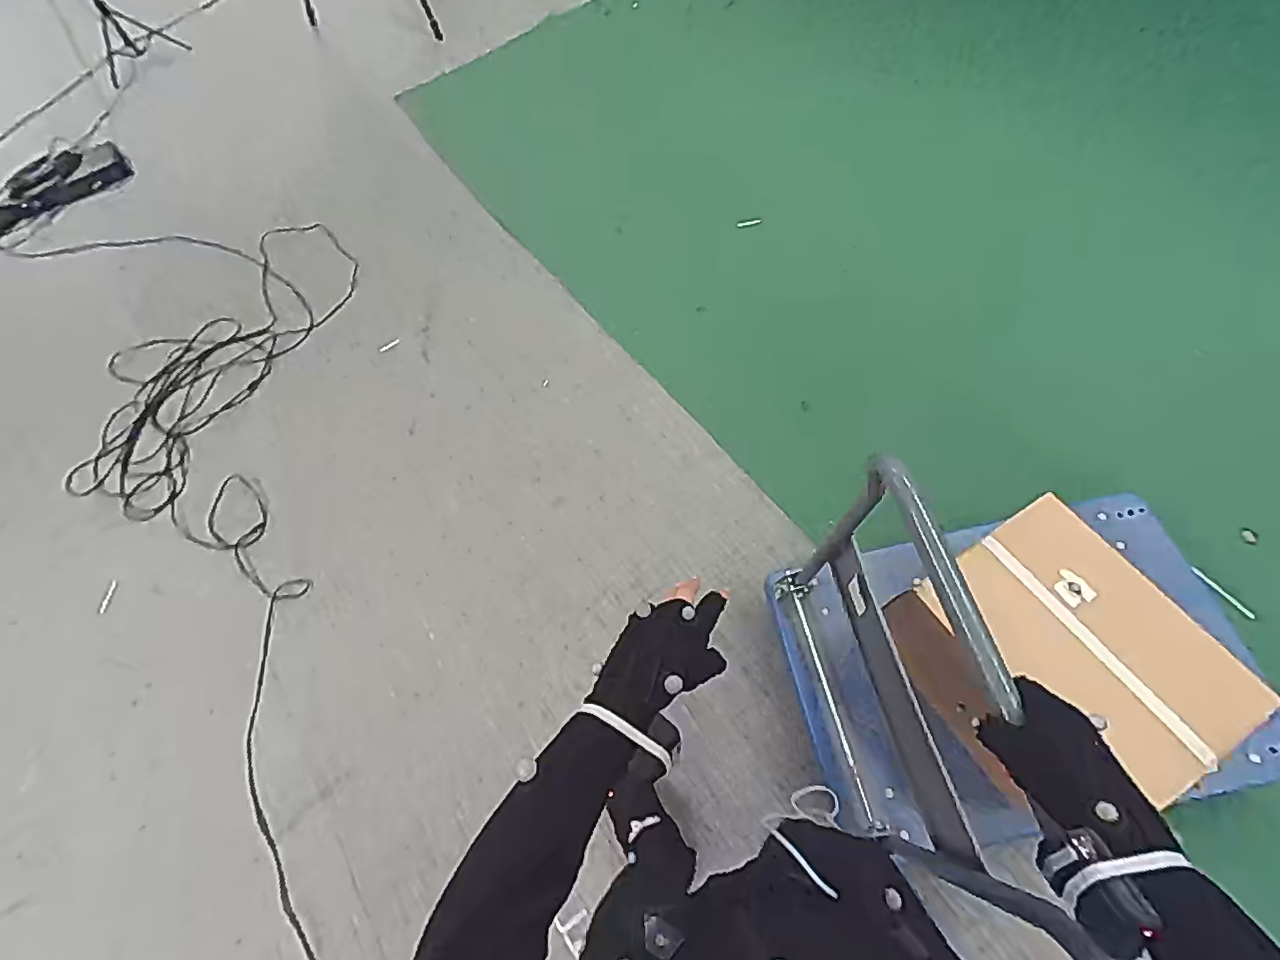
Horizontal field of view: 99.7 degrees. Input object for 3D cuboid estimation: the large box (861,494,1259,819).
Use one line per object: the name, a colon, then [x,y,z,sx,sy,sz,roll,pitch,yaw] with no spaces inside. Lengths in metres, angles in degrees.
large box: [0.686,0.309,0.976,0.320,0.320,0.408,-31,64,-9]
